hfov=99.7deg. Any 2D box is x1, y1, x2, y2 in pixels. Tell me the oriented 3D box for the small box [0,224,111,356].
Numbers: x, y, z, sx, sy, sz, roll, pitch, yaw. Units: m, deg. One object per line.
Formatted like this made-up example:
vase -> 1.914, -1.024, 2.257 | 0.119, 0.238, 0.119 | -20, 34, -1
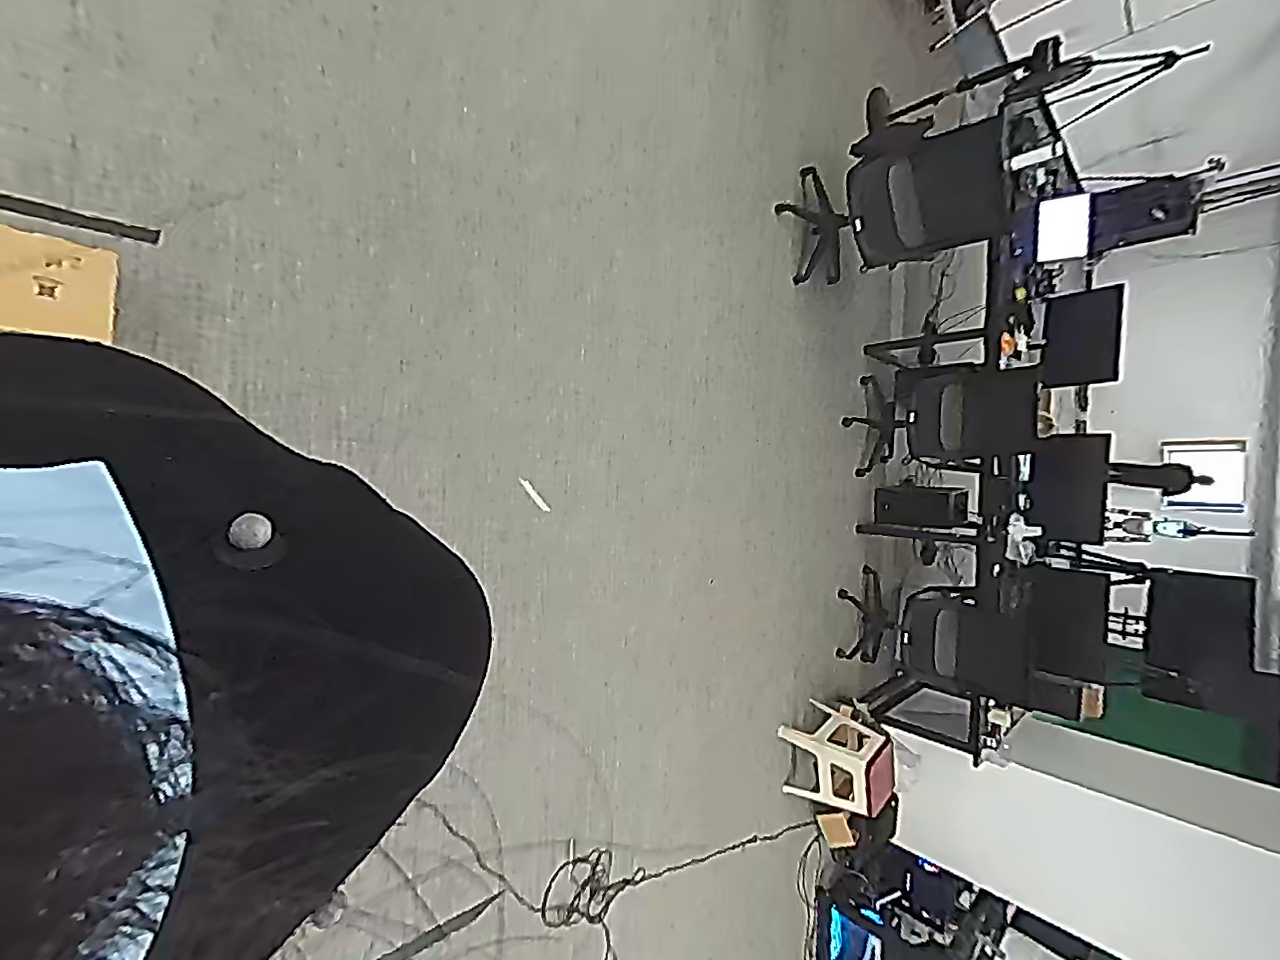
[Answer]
small box -> -1.078, -0.333, 0.976 | 0.168, 0.176, 0.179 | 5, 87, -44
